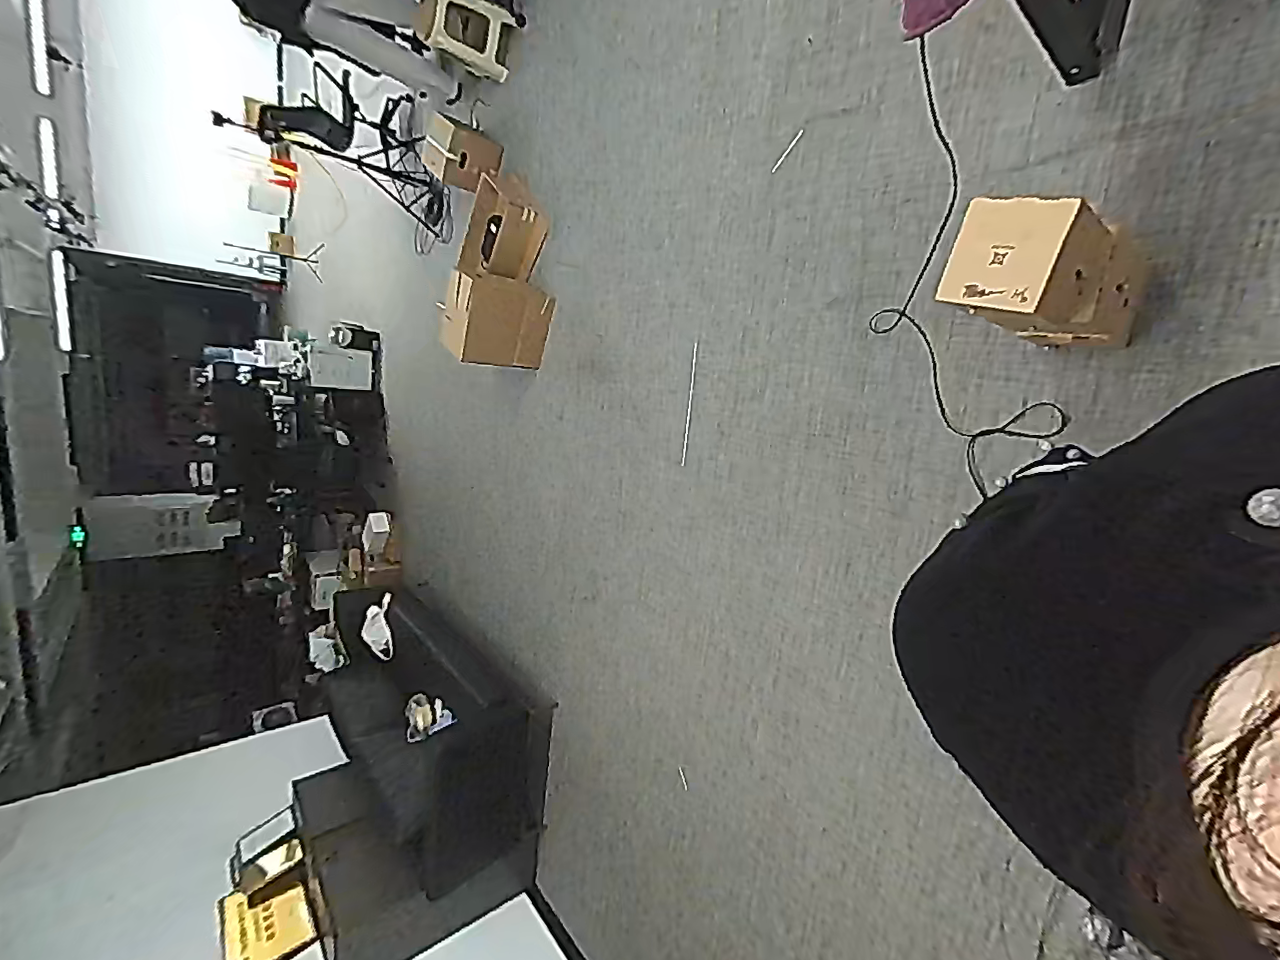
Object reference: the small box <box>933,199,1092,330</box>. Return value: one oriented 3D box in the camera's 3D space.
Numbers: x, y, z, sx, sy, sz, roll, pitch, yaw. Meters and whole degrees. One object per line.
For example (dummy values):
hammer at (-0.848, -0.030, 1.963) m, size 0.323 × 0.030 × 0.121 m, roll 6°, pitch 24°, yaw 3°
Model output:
small box at (0.667, -0.381, 0.965) m, size 0.168 × 0.176 × 0.179 m, roll 32°, pitch 115°, yaw 45°

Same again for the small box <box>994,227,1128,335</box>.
small box at (0.806, -0.380, 1.056) m, size 0.179 × 0.176 × 0.168 m, roll 22°, pitch 108°, yaw 46°
